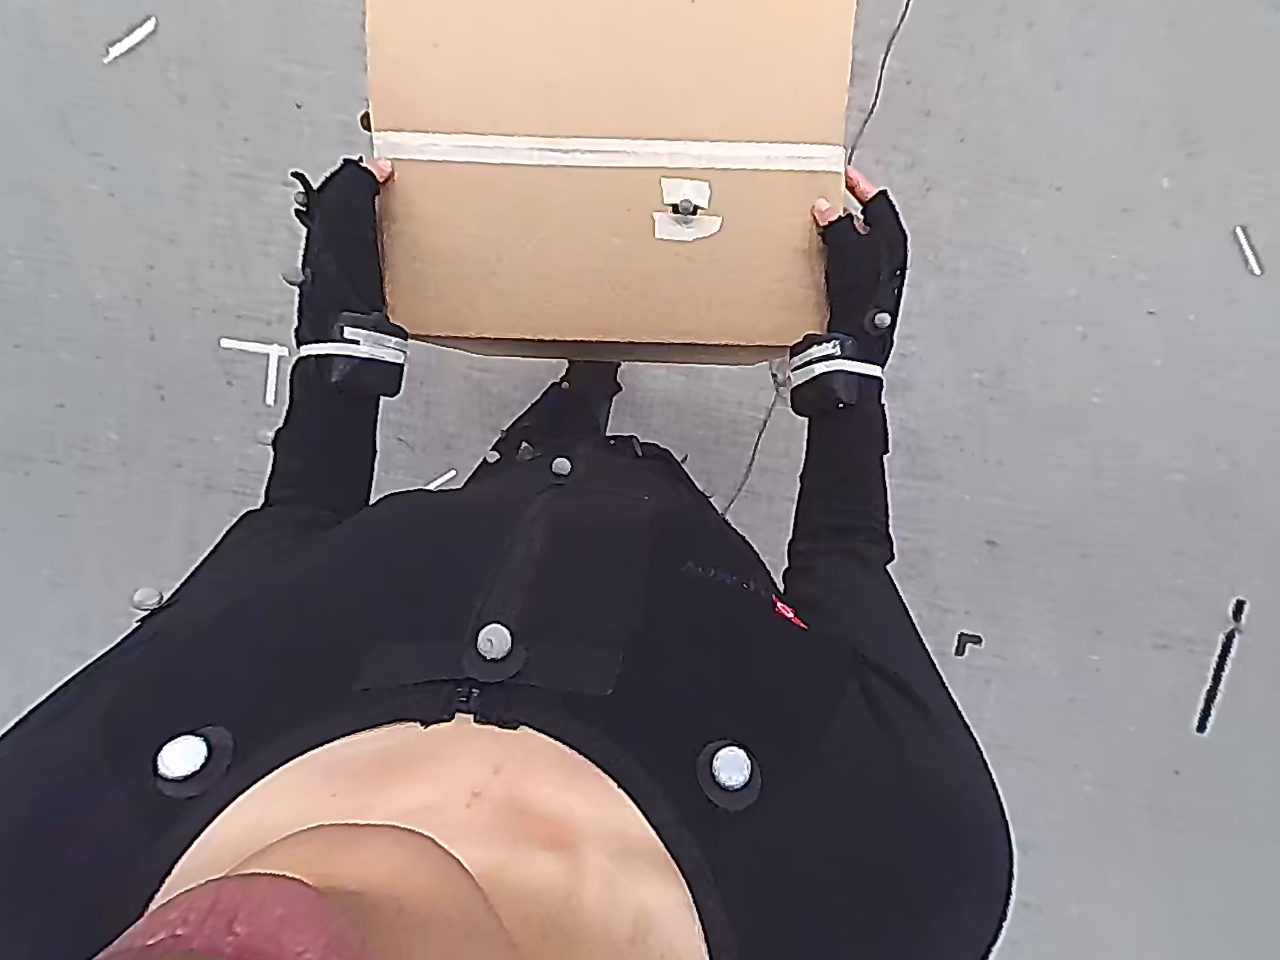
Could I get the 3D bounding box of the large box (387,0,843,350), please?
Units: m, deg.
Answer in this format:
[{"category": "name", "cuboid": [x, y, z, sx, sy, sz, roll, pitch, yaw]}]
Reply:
[{"category": "large box", "cuboid": [-0.026, -0.322, 0.634, 0.408, 0.320, 0.320, 1, 100, -1]}]
